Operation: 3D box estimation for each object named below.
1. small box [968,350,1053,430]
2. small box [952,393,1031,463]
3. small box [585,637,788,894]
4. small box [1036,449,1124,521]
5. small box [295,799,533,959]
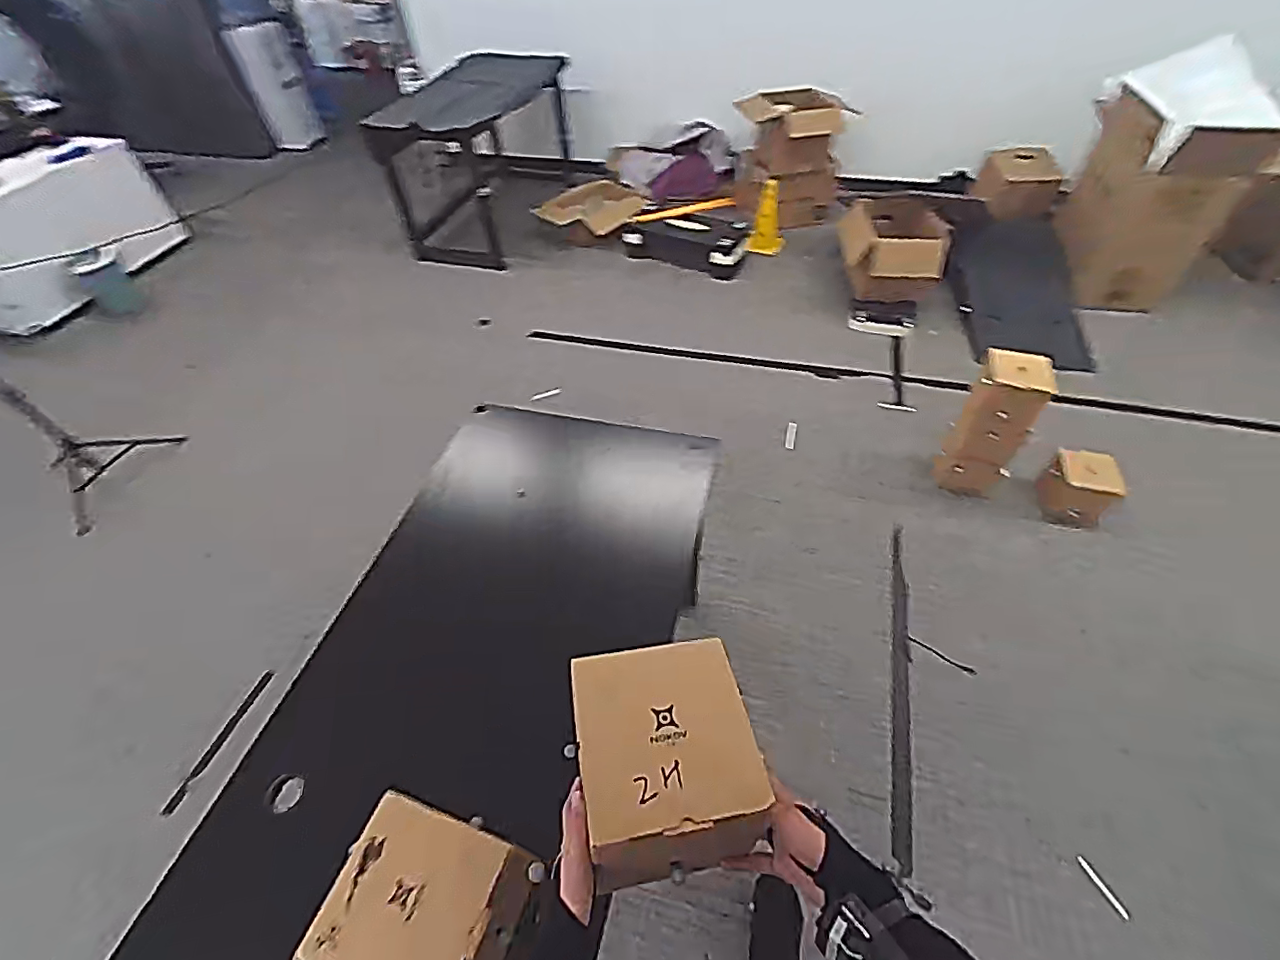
[{"bbox_3d":[1.182,-0.290,1.742,0.168,0.176,0.179,12,52,12],"label":"small box"},{"bbox_3d":[1.196,-0.179,1.861,0.179,0.176,0.168,11,52,10],"label":"small box"},{"bbox_3d":[0.030,0.293,0.565,0.168,0.176,0.179,-5,42,-9],"label":"small box"},{"bbox_3d":[1.532,0.018,1.896,0.168,0.176,0.179,8,52,11],"label":"small box"},{"bbox_3d":[-0.245,0.507,0.638,0.179,0.176,0.168,13,52,13],"label":"small box"}]
